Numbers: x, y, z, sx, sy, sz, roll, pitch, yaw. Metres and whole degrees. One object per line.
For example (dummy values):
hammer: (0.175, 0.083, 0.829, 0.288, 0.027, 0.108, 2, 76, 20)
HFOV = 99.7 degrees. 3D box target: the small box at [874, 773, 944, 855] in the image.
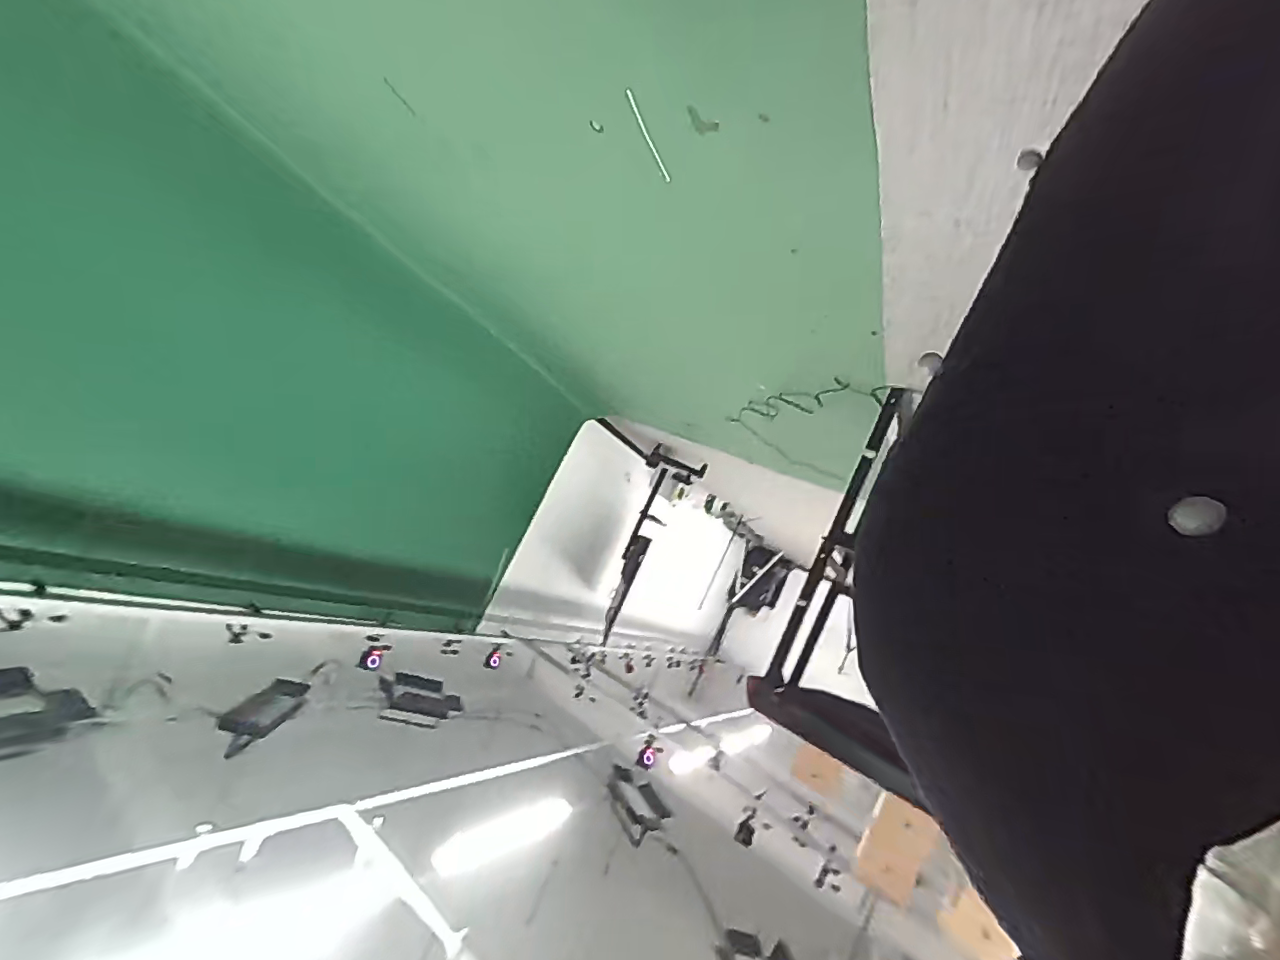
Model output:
small box: (0.965, 1.193, 1.952, 0.179, 0.176, 0.168, 22, 174, 27)

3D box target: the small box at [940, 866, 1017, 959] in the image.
small box: (1.128, 1.440, 1.803, 0.168, 0.176, 0.179, 23, 176, 27)

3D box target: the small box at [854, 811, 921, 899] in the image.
small box: (0.893, 1.340, 1.946, 0.179, 0.176, 0.168, 22, 174, 29)

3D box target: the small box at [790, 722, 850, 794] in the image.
small box: (0.715, 1.088, 2.130, 0.179, 0.176, 0.168, 23, 174, 26)
